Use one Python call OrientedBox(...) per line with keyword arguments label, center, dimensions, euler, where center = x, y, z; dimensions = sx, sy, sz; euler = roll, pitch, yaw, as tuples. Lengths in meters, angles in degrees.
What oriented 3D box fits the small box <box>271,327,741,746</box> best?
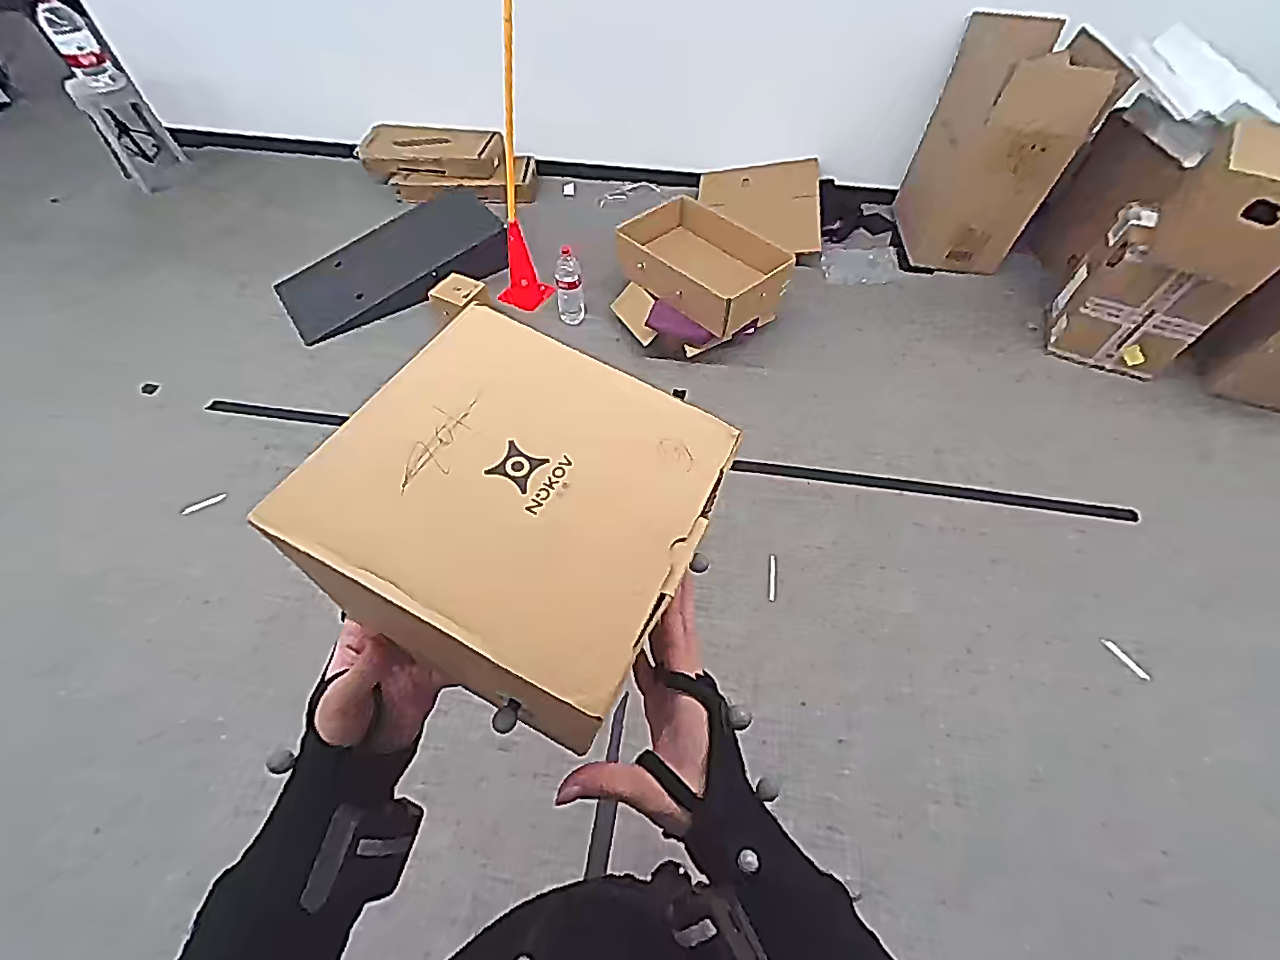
OrientedBox(label="small box", center=(-0.065, 0.046, 0.338), dimensions=(0.179, 0.176, 0.168), euler=(26, 58, 7))
